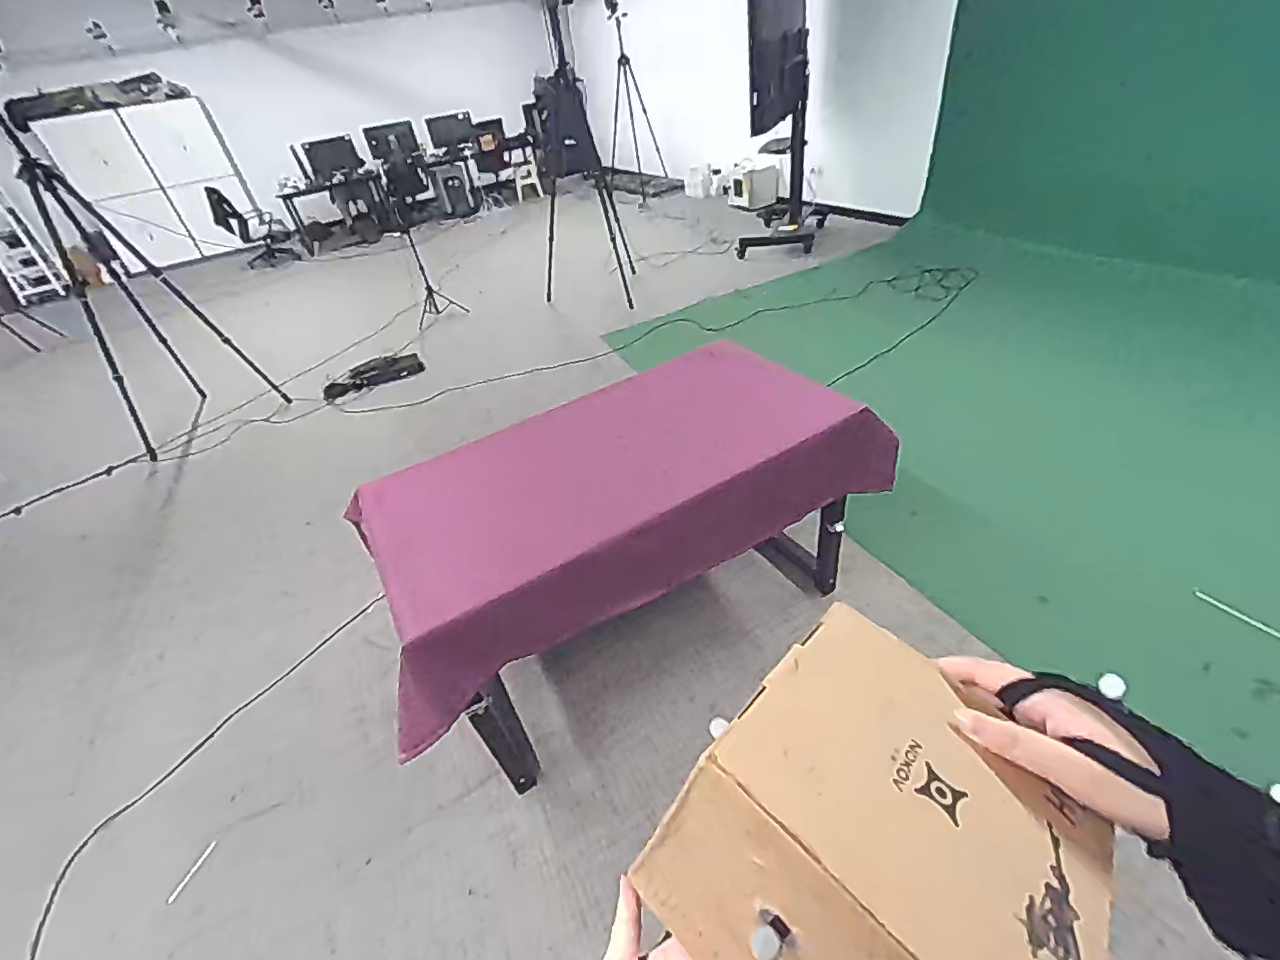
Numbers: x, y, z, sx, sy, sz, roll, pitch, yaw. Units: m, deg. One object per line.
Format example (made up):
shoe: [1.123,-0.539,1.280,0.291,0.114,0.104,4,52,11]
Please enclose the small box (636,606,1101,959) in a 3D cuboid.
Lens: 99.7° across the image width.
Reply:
small box: [0.122,0.218,0.325,0.179,0.176,0.168,37,40,25]
